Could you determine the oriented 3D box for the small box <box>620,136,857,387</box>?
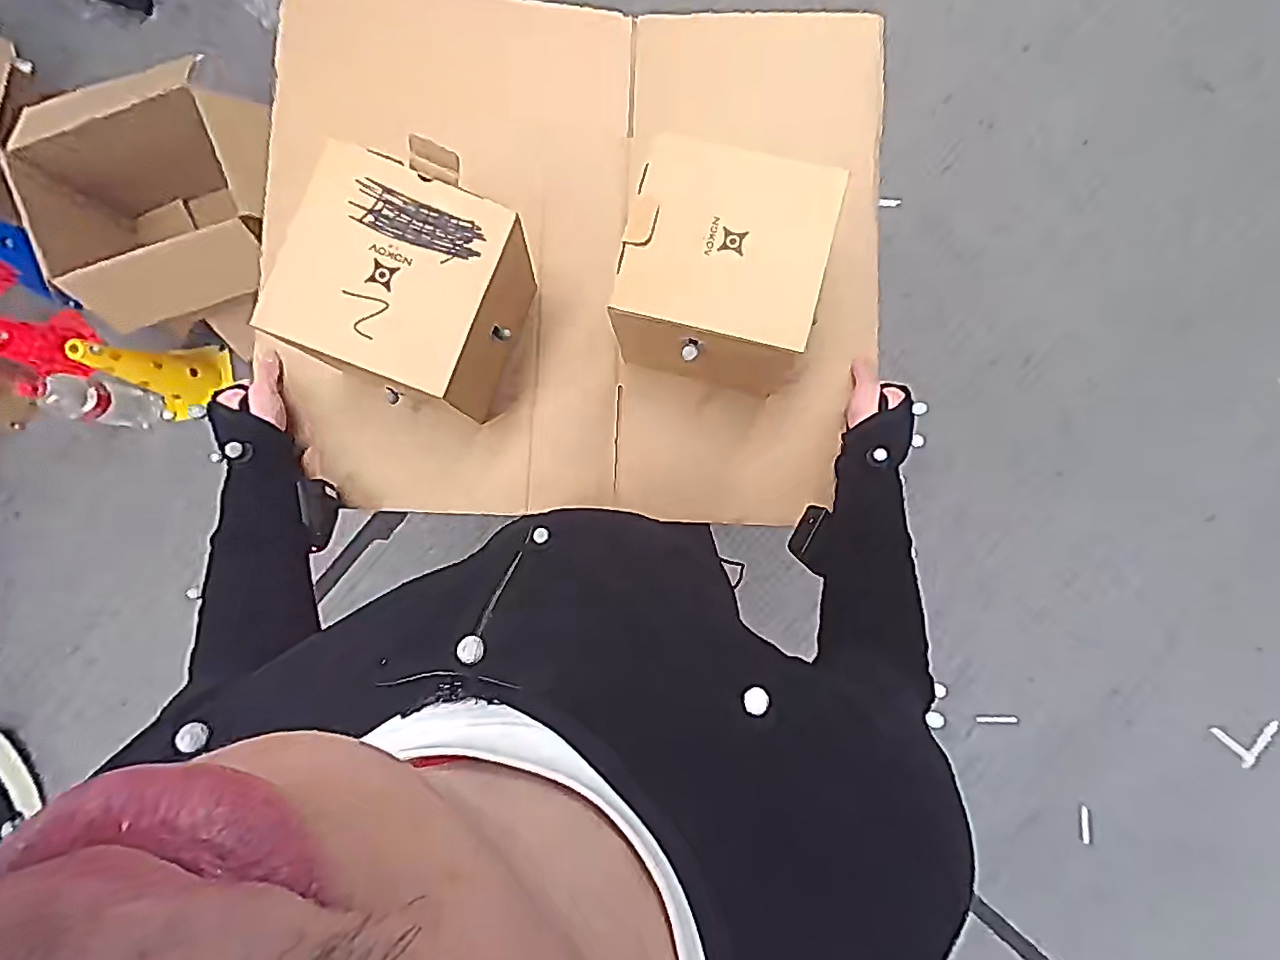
[{"bbox_3d":[0.091,-0.205,0.557,0.179,0.176,0.168,15,88,5],"label":"small box"}]
